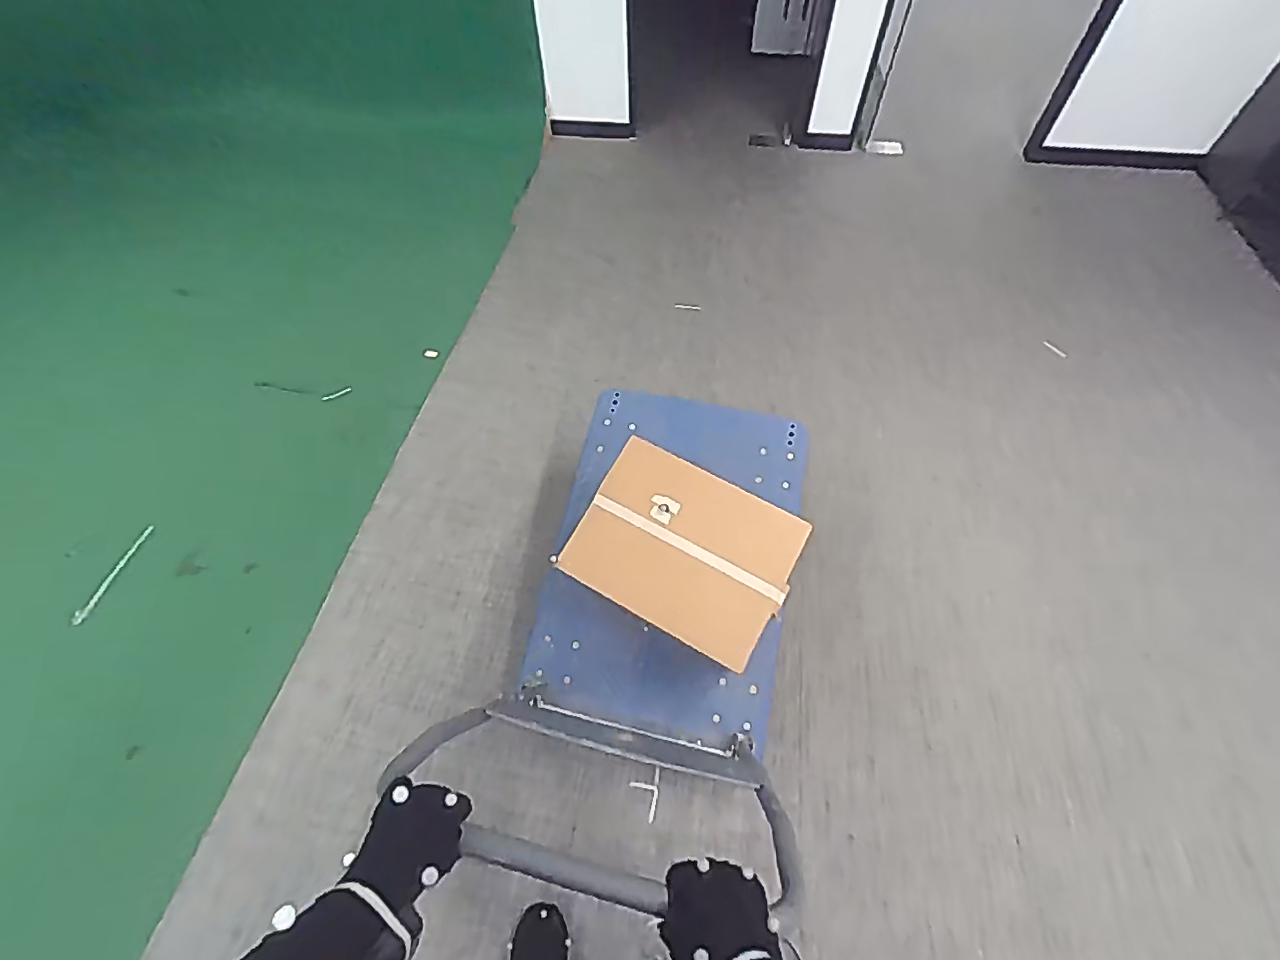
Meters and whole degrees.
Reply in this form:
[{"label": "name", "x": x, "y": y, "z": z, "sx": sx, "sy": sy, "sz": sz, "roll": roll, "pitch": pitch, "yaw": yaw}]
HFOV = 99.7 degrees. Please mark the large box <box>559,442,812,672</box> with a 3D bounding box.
[{"label": "large box", "x": 0.103, "y": 0.176, "z": 1.177, "sx": 0.408, "sy": 0.320, "sz": 0.320, "roll": 27, "pitch": 77, "yaw": 14}]
